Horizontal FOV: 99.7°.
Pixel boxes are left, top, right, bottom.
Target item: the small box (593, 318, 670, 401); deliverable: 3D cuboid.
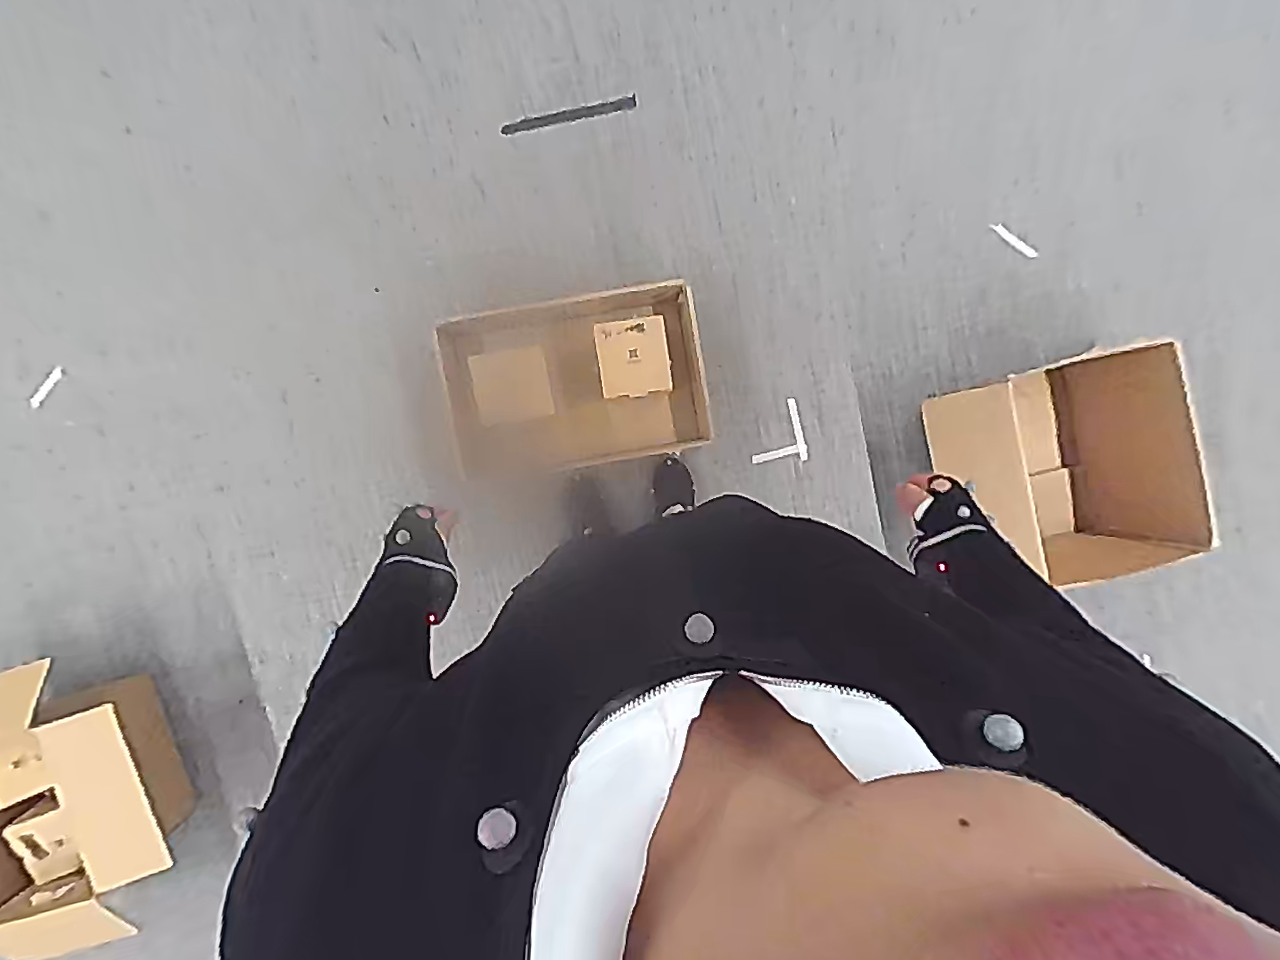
[{"bbox_3d":[-0.020,-0.291,1.340,0.168,0.176,0.179,-8,96,-1],"label":"small box"}]
